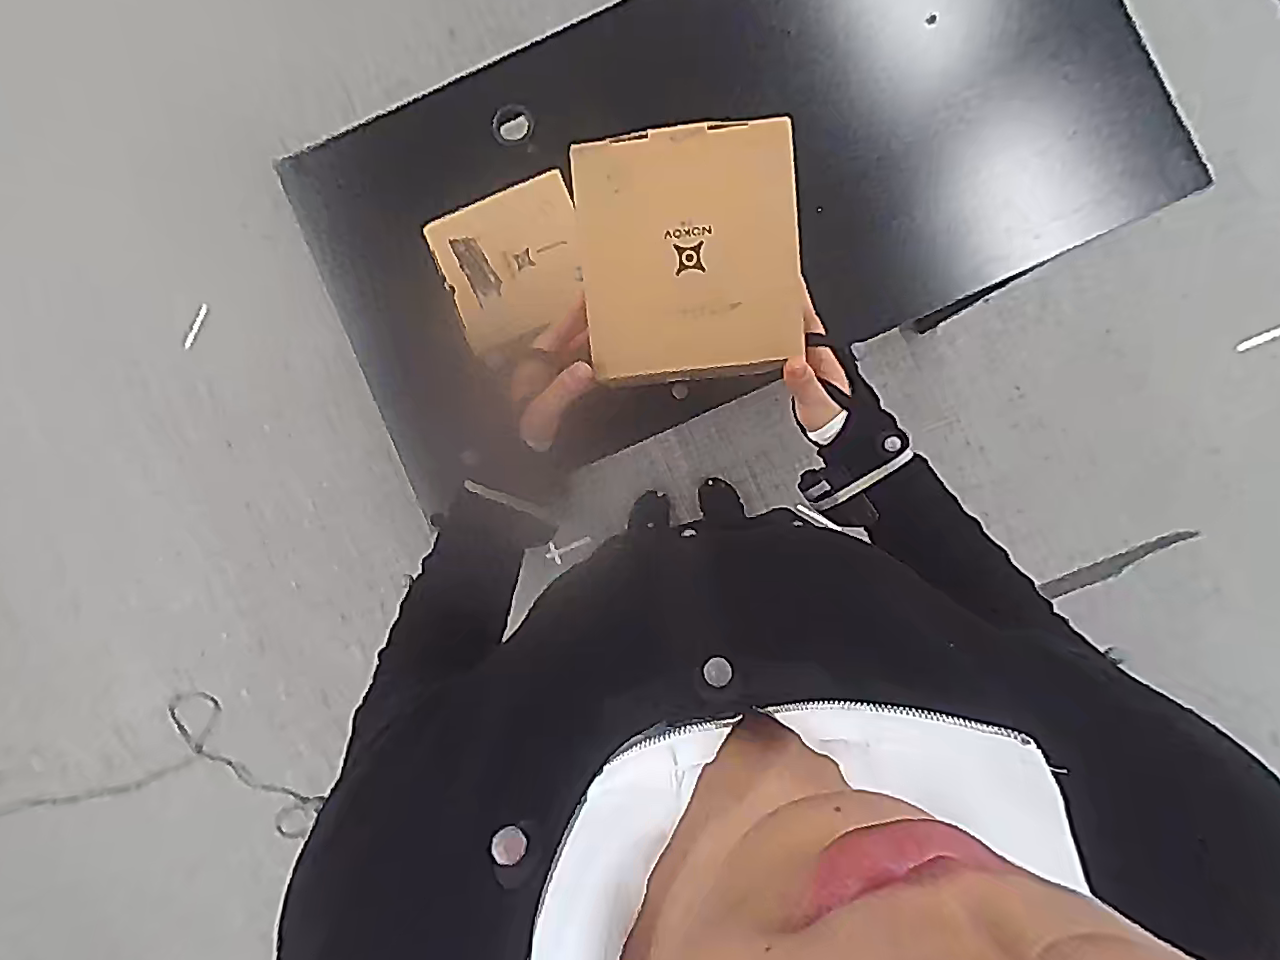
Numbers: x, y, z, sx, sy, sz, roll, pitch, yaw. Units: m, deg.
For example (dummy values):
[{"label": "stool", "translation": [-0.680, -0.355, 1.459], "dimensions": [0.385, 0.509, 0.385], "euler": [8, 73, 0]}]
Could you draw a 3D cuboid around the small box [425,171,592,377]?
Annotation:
[{"label": "small box", "translation": [-0.142, -0.253, 0.711], "dimensions": [0.179, 0.176, 0.168], "euler": [-23, 88, 1]}]

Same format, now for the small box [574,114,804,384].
[{"label": "small box", "translation": [0.040, -0.185, 0.486], "dimensions": [0.168, 0.176, 0.179], "euler": [-5, 97, 3]}]
